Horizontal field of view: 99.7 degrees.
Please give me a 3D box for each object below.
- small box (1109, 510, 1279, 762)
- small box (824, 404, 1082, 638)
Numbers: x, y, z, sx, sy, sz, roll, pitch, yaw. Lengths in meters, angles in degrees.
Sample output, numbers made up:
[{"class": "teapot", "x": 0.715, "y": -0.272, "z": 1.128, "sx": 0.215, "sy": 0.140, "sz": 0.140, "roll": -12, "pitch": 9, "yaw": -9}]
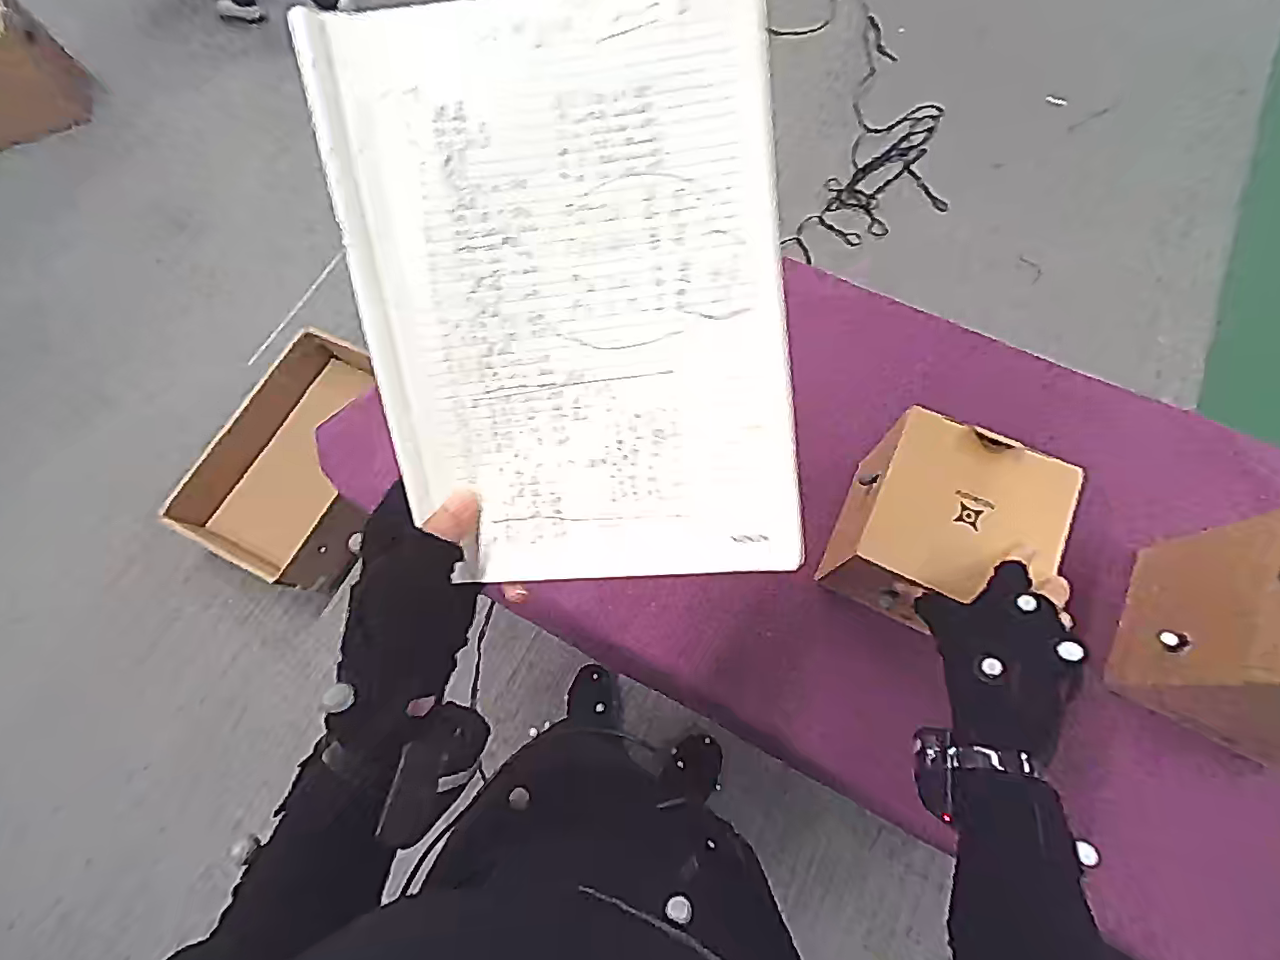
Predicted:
[{"class": "small box", "x": 0.614, "y": 0.160, "z": 0.524, "sx": 0.168, "sy": 0.176, "sz": 0.179, "roll": 28, "pitch": 74, "yaw": 13}, {"class": "small box", "x": 0.316, "y": 0.055, "z": 0.584, "sx": 0.168, "sy": 0.176, "sz": 0.179, "roll": 25, "pitch": 73, "yaw": 12}]
